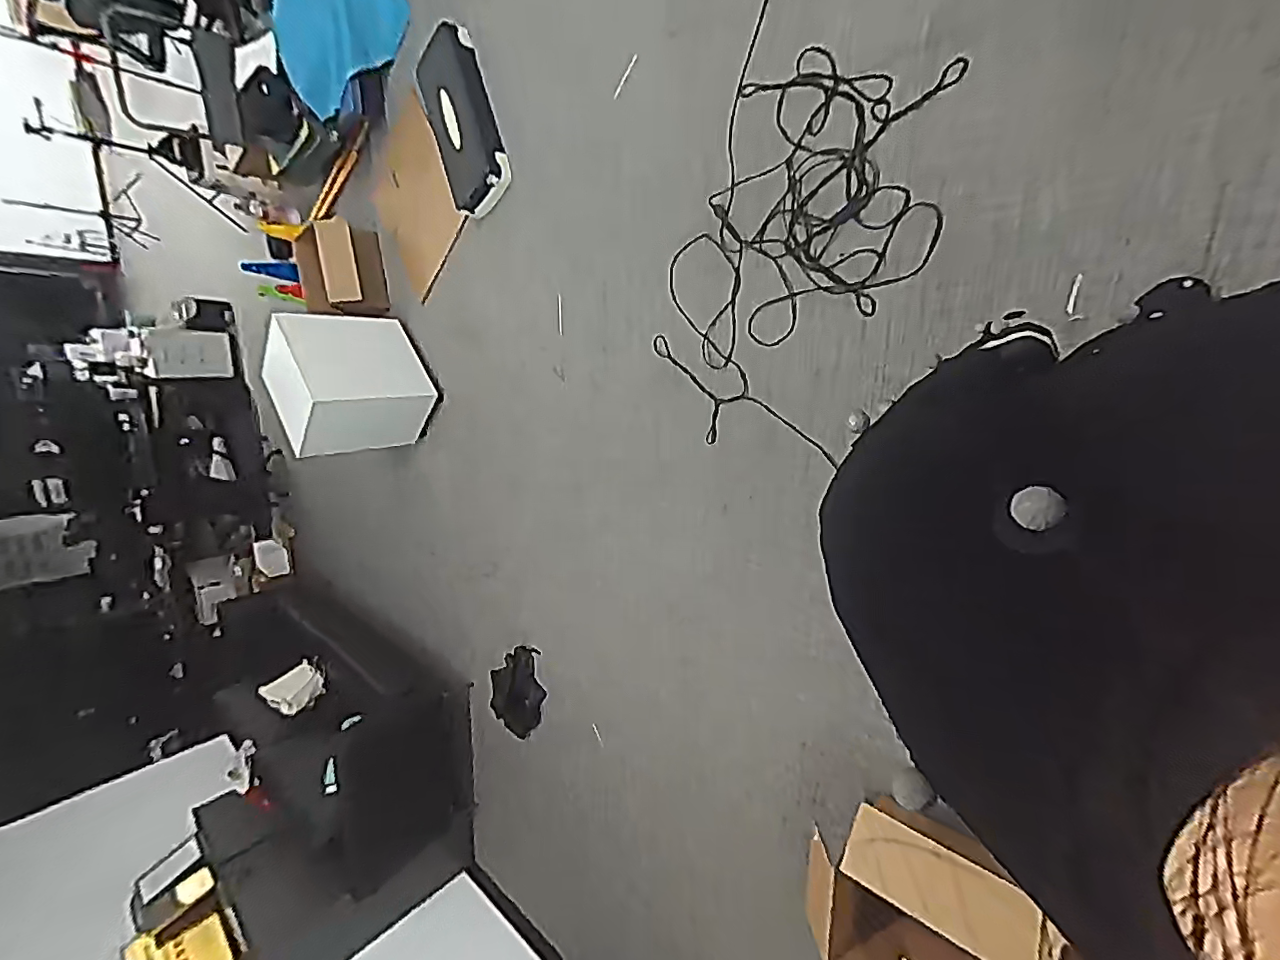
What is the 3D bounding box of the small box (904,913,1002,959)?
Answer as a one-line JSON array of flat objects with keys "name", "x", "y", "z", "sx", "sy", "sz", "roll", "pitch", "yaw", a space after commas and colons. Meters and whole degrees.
[{"name": "small box", "x": 0.663, "y": 1.095, "z": 1.149, "sx": 0.168, "sy": 0.176, "sz": 0.179, "roll": 10, "pitch": 103, "yaw": 42}]
